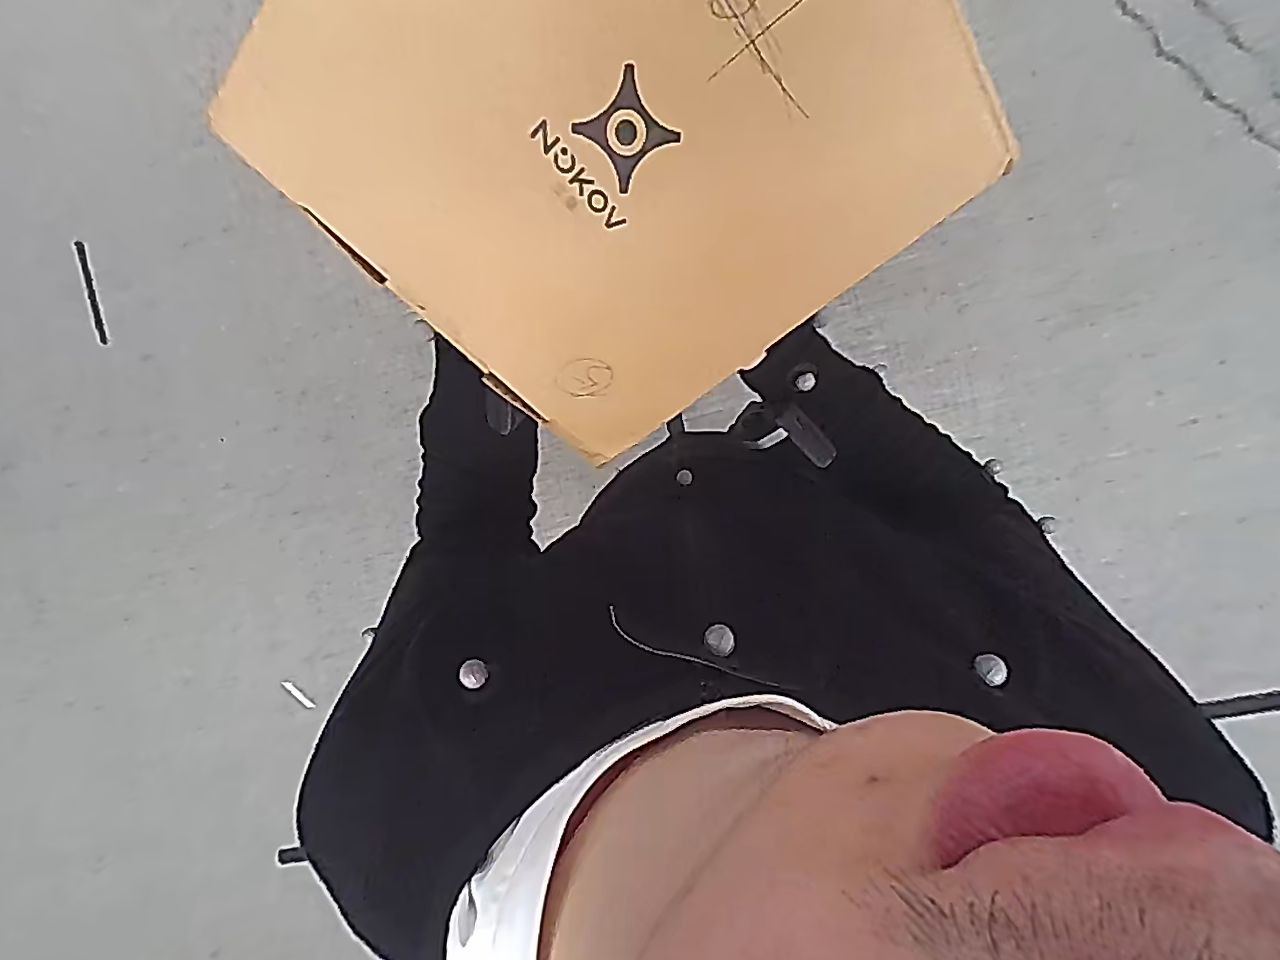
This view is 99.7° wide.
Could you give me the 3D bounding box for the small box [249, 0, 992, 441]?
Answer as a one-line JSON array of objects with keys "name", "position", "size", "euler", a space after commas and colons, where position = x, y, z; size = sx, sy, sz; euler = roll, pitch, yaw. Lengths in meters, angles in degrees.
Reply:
[{"name": "small box", "position": [-0.005, -0.156, 0.232], "size": [0.179, 0.176, 0.168], "euler": [-36, 120, 23]}]
